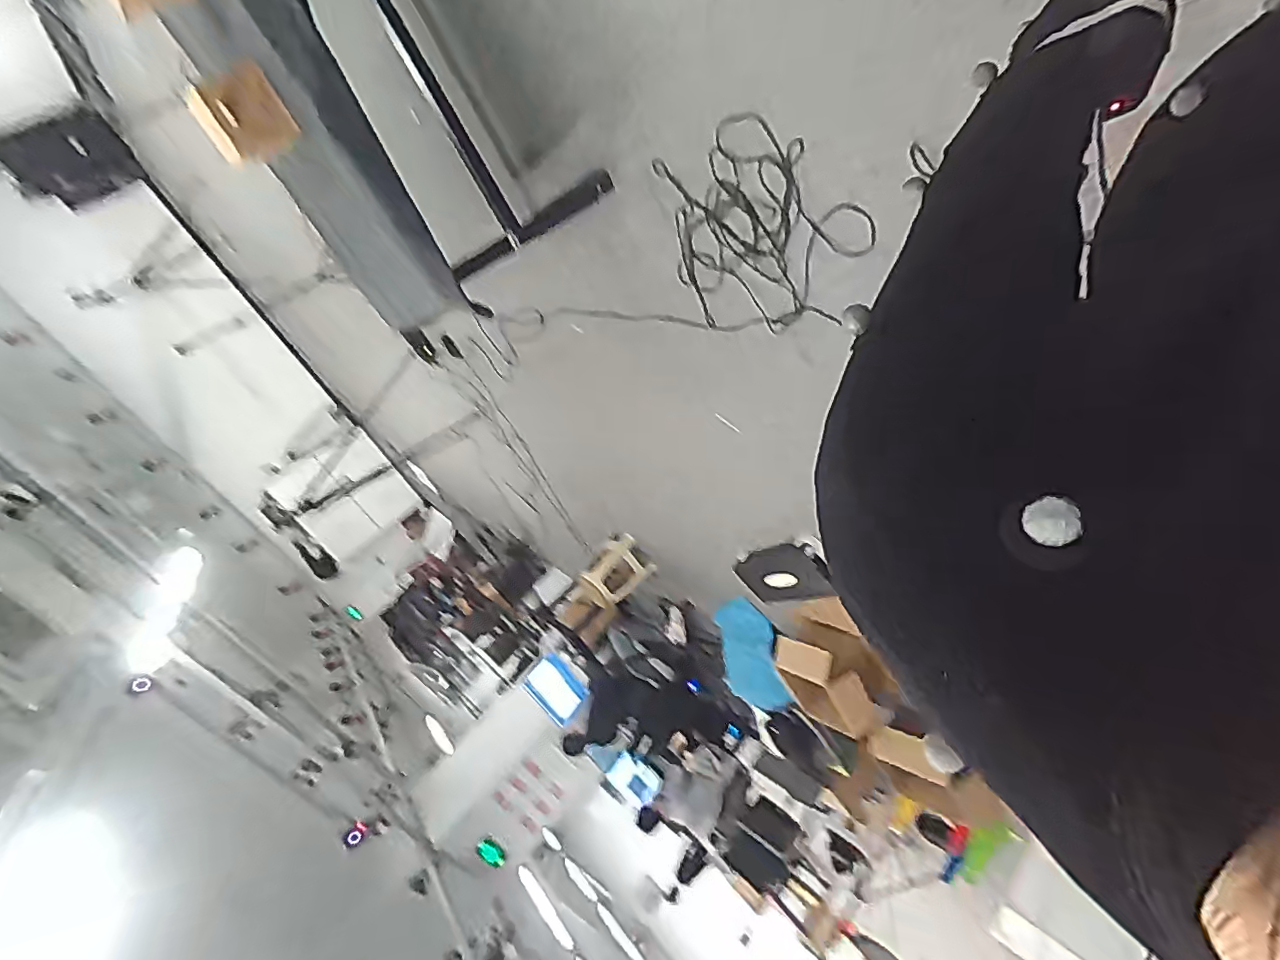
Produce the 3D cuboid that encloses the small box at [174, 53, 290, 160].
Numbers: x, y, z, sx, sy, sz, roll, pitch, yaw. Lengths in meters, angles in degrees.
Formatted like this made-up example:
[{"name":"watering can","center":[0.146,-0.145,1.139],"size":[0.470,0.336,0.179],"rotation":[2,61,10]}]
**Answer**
[{"name":"small box","center":[-1.033,-0.947,1.376],"size":[0.179,0.176,0.168],"rotation":[19,143,45]}]
